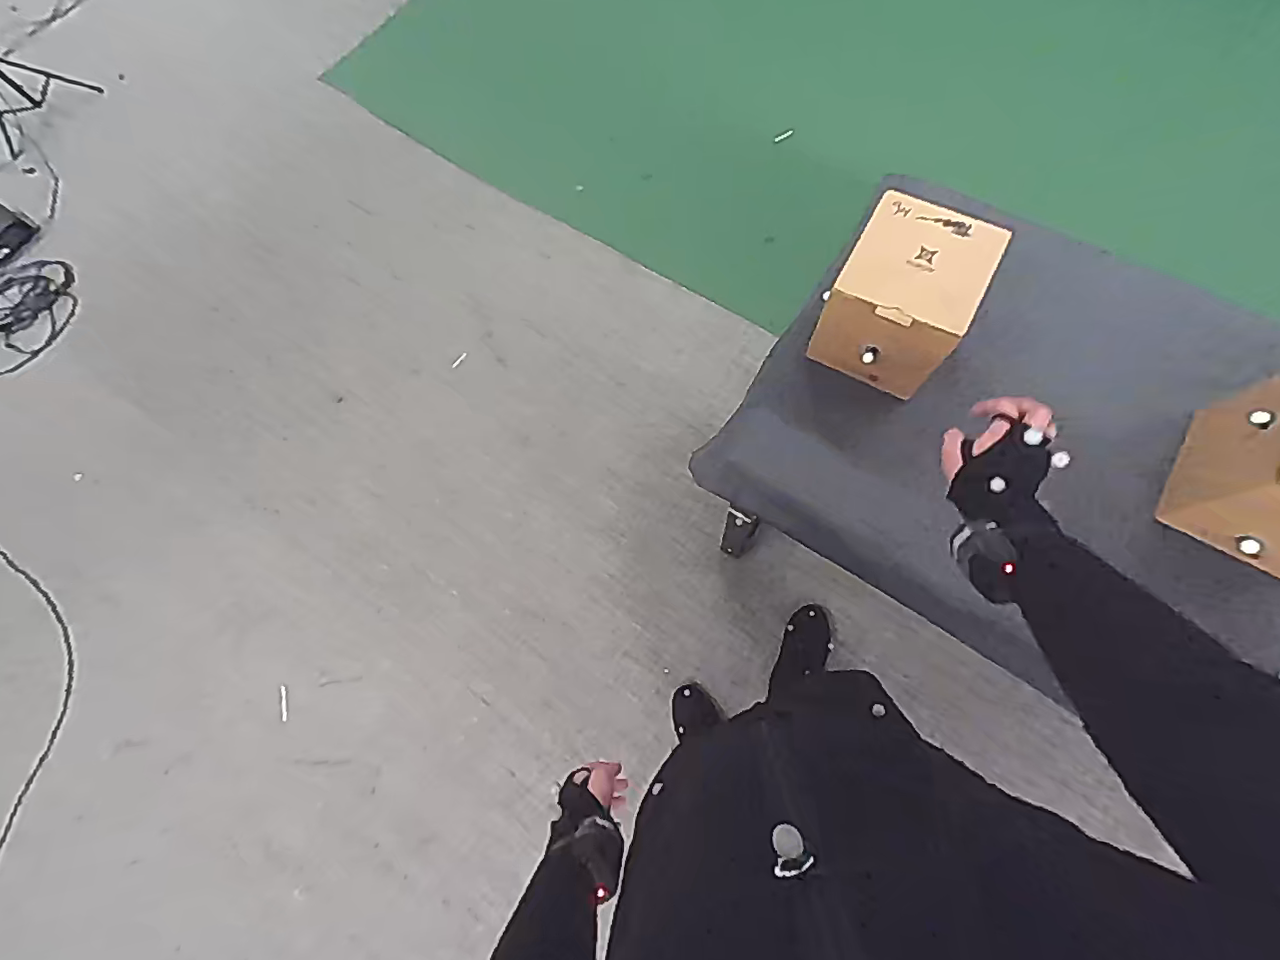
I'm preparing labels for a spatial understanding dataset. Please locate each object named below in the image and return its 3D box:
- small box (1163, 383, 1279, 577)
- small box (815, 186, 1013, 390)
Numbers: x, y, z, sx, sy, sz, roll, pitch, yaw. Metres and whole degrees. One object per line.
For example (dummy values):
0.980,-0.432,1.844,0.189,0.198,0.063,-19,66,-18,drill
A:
0.778,-0.006,0.627,0.168,0.176,0.179,31,79,14,small box
0.360,-0.253,0.748,0.168,0.176,0.179,29,78,13,small box
